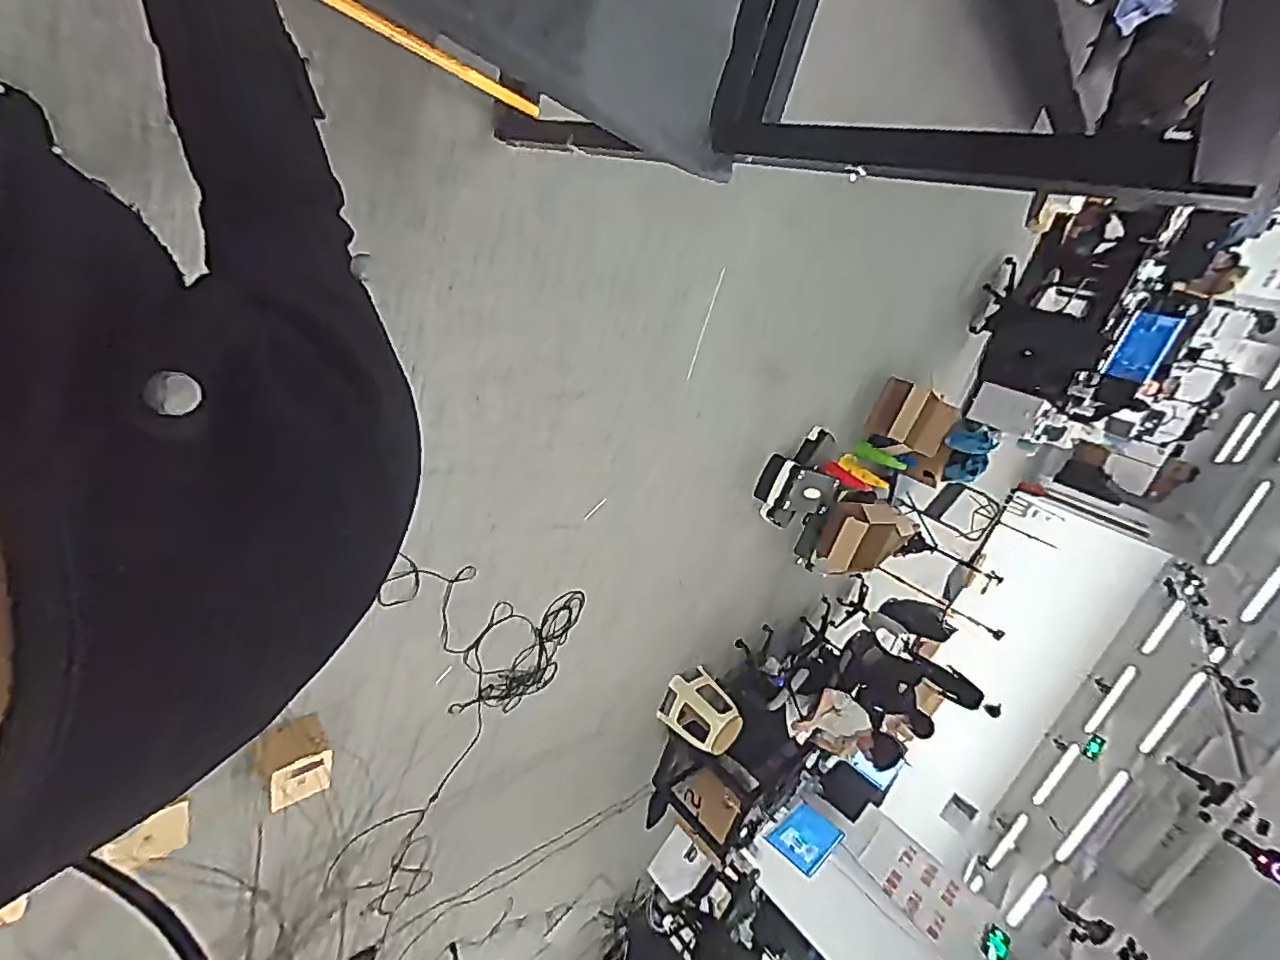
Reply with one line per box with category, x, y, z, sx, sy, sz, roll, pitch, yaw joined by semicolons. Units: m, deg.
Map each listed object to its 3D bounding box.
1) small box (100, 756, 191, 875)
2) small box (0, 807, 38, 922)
small box;-1.339;0.899;1.465;0.168;0.176;0.179;-7;119;-48
small box;-1.536;0.915;1.259;0.168;0.176;0.179;7;109;-50
